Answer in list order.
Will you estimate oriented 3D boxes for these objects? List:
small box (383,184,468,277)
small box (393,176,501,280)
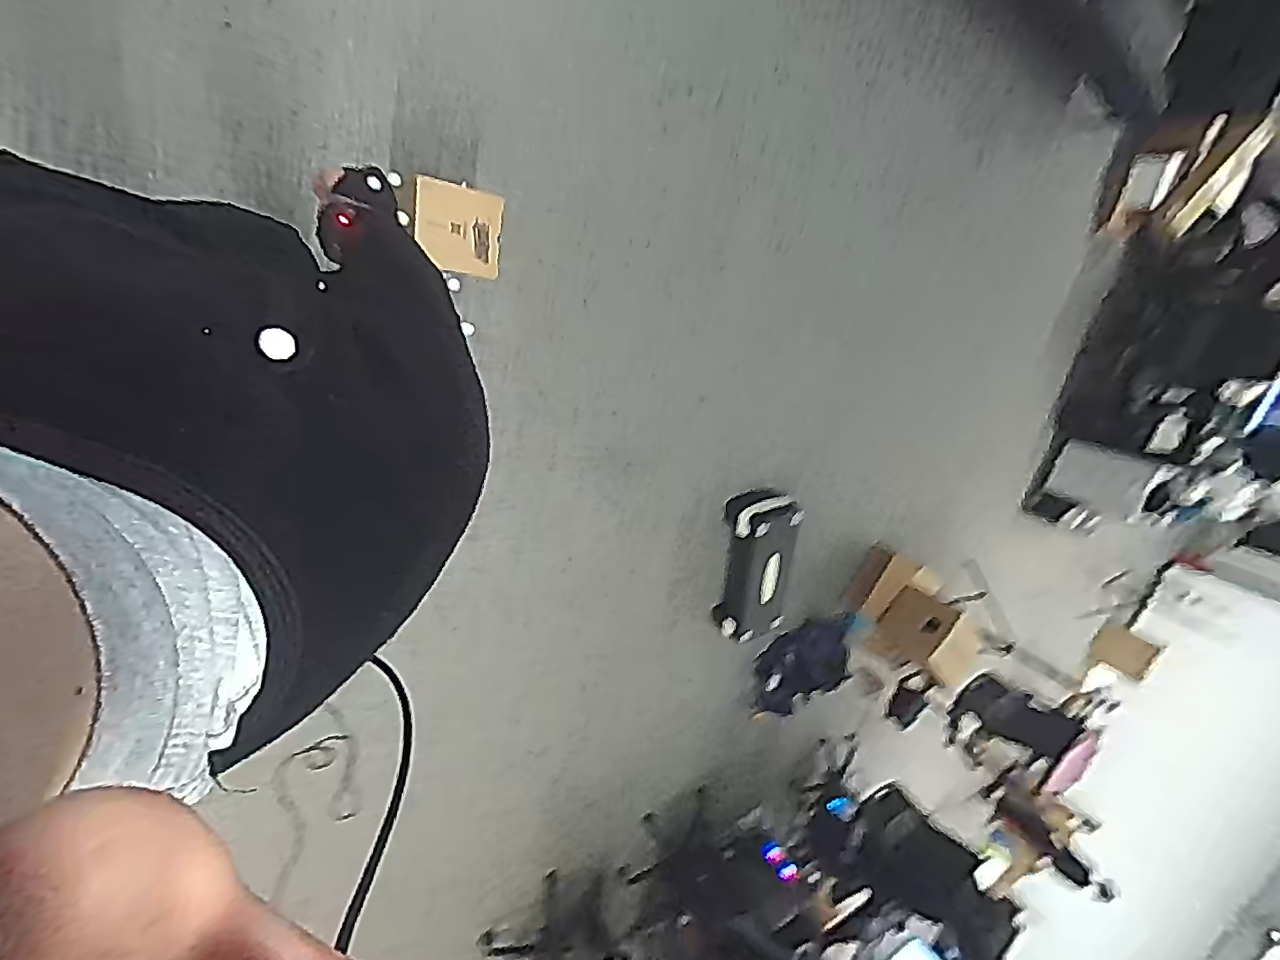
[{"bbox_3d":[-0.502,-0.591,1.291,0.179,0.176,0.168,-2,111,-34],"label":"small box"},{"bbox_3d":[-0.417,-0.535,1.161,0.179,0.176,0.168,-2,111,-34],"label":"small box"}]
